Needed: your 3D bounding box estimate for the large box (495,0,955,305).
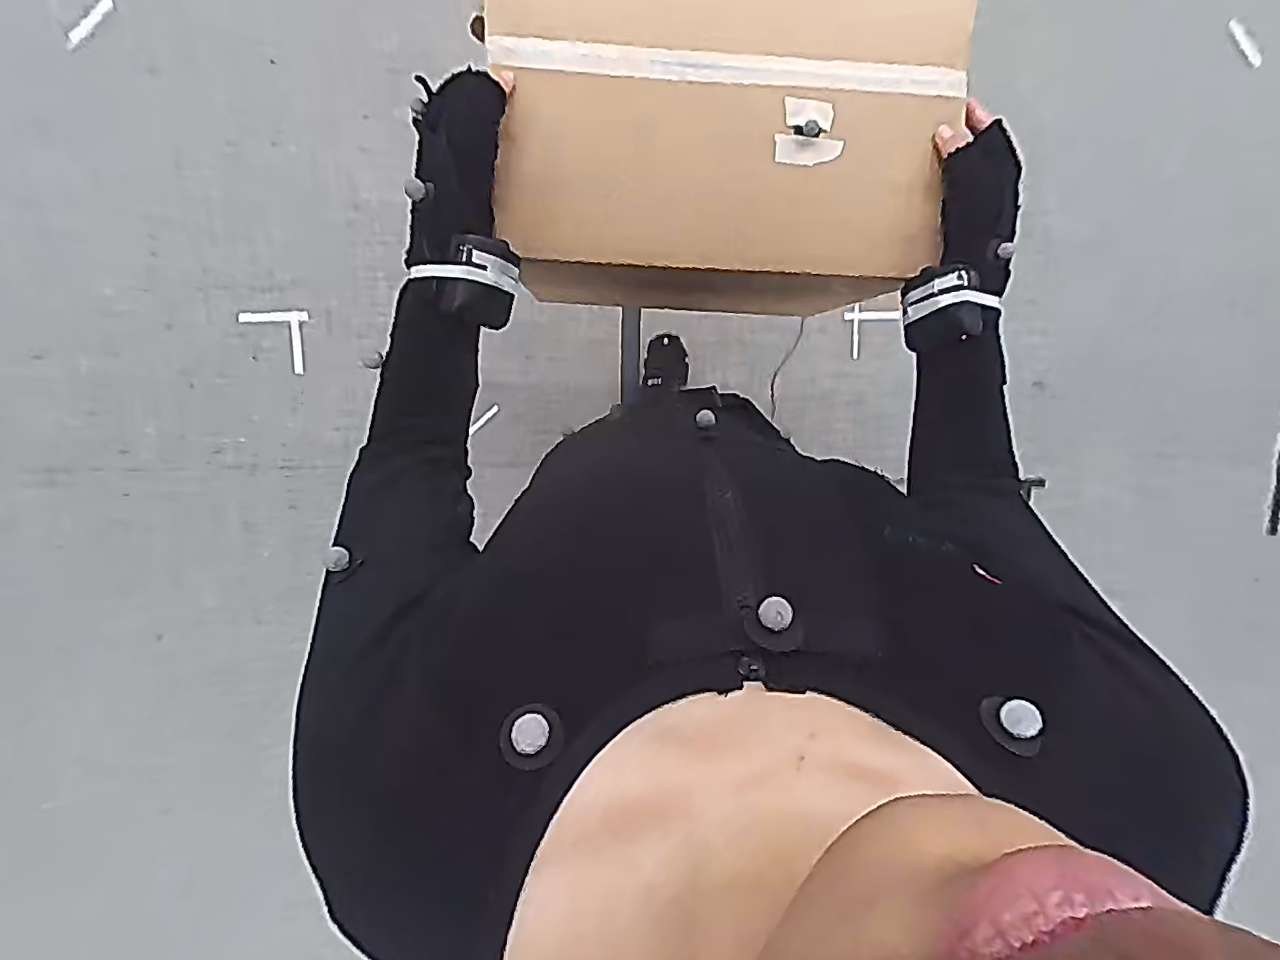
[{"bbox_3d":[0.064,-0.382,0.617,0.408,0.320,0.320,1,101,-4],"label":"large box"}]
